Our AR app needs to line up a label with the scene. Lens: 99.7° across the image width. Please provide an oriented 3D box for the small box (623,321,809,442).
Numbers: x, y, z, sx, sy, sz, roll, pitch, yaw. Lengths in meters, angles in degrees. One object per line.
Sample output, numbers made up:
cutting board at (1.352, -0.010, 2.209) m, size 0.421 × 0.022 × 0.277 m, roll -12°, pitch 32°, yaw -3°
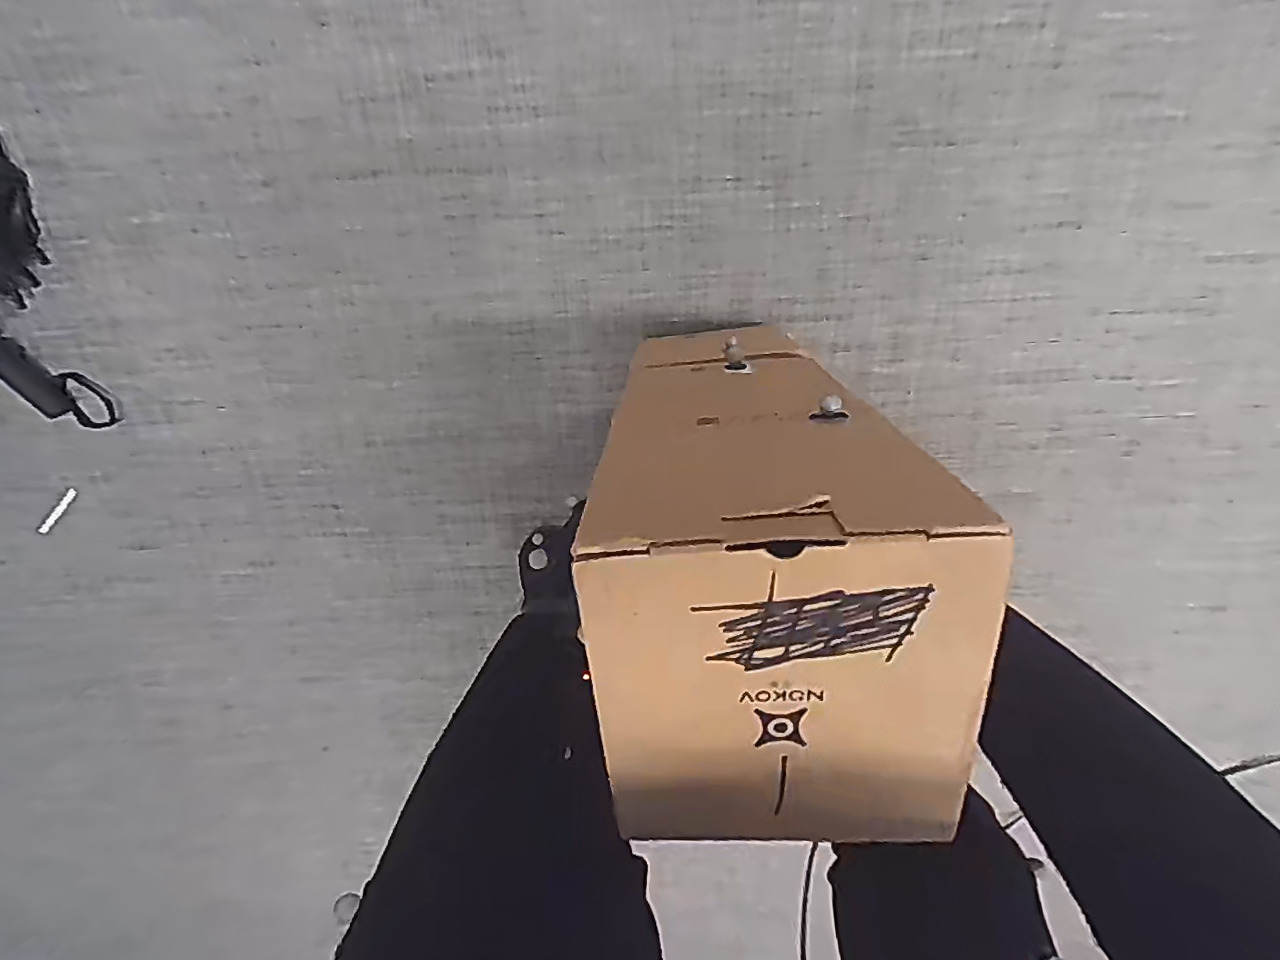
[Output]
small box at (0.080, -0.062, 0.581) m, size 0.168 × 0.176 × 0.179 m, roll -4°, pitch 115°, yaw 6°

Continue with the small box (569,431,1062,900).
small box at (0.065, 0.080, 0.285) m, size 0.168 × 0.176 × 0.179 m, roll -3°, pitch 116°, yaw 5°
